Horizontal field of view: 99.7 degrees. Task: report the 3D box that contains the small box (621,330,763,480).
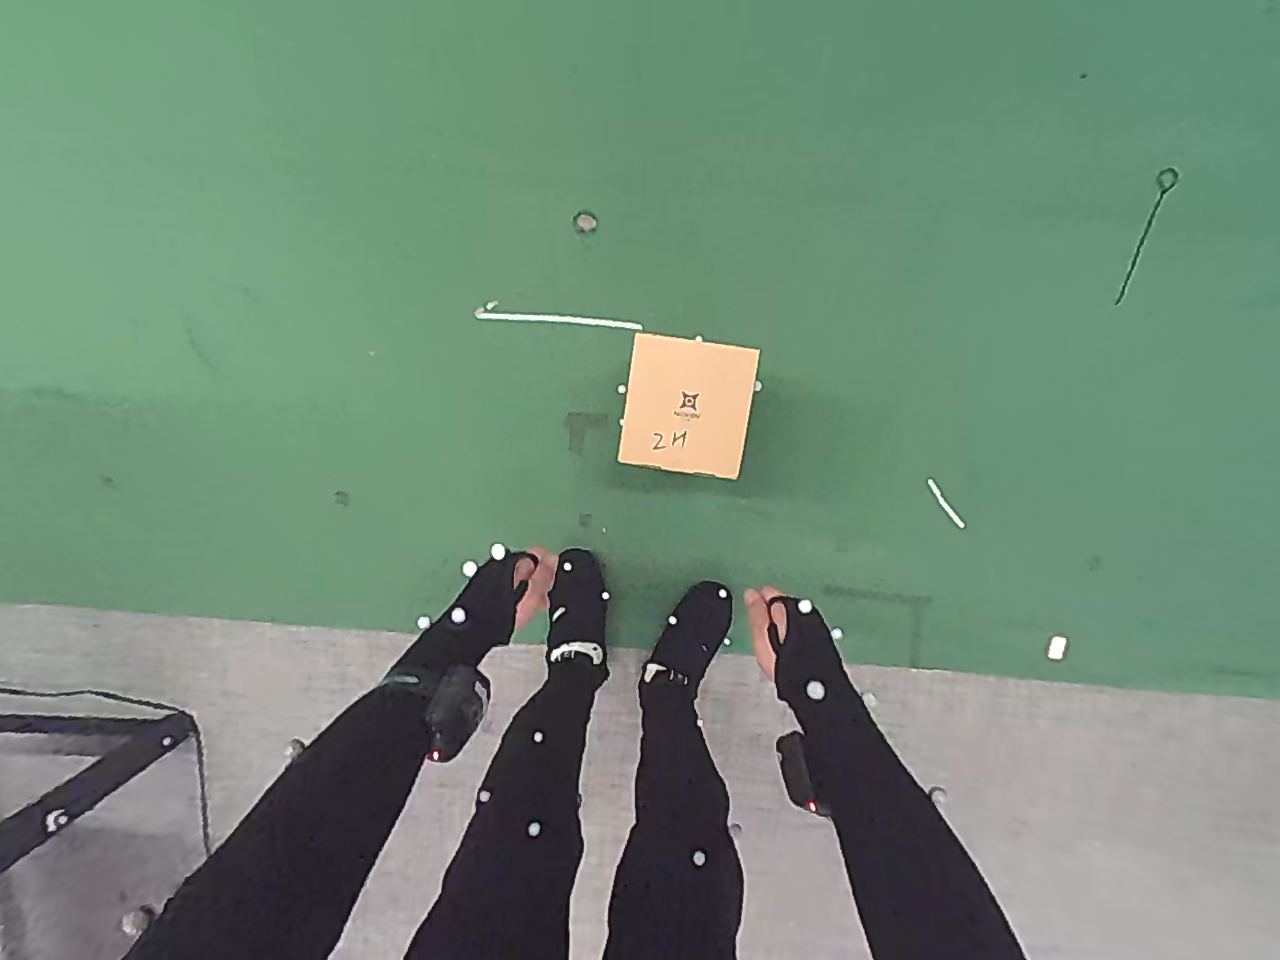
[{"bbox_3d":[0.068,-0.109,0.787,0.168,0.176,0.179,9,100,1],"label":"small box"}]
